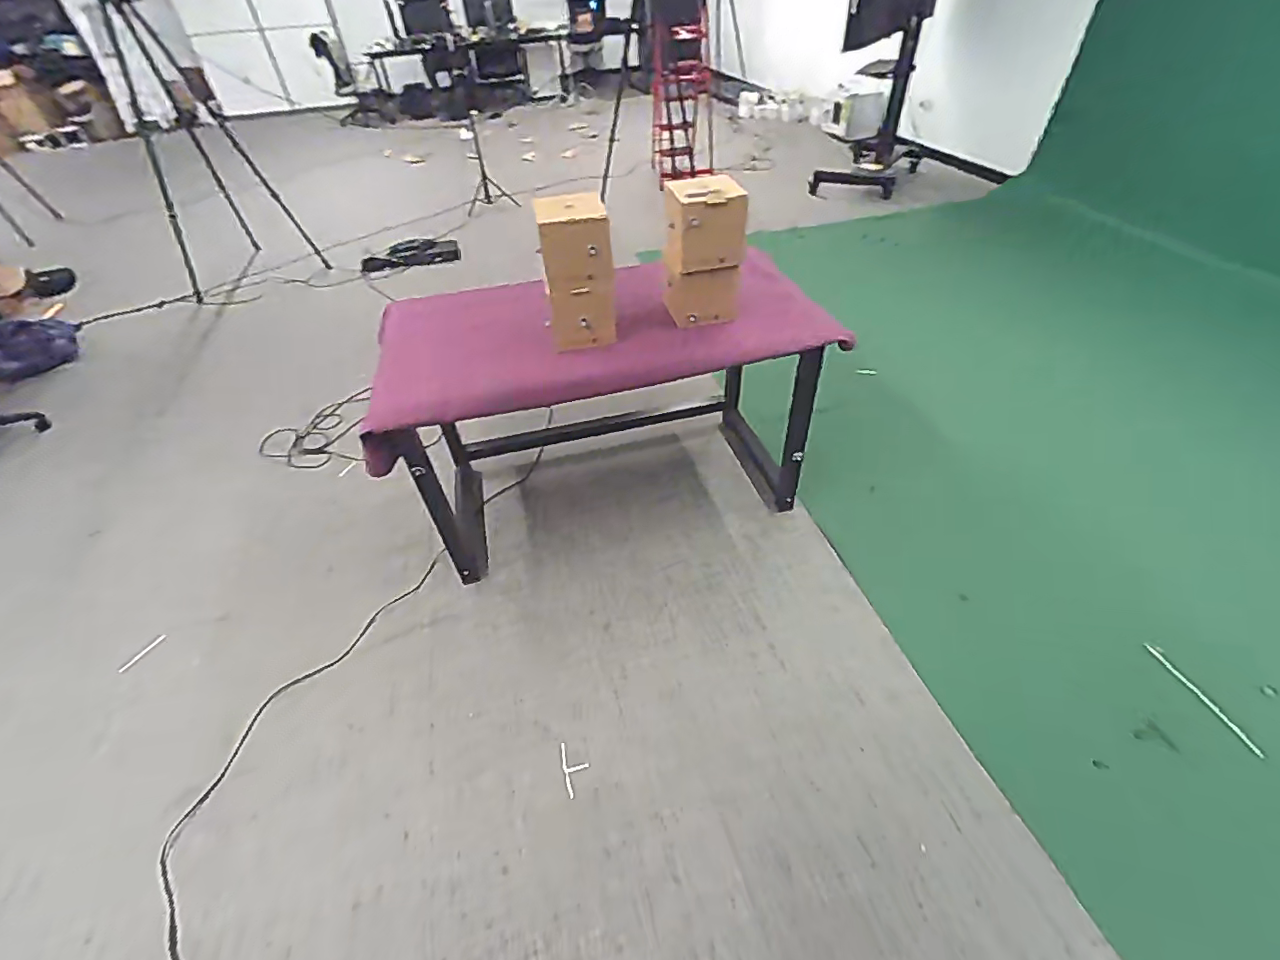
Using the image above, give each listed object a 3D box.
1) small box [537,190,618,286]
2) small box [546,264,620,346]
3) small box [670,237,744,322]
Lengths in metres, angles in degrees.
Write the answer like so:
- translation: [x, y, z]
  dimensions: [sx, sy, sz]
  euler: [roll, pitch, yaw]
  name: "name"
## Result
- translation: [-0.152, -0.589, 1.330]
  dimensions: [0.168, 0.176, 0.179]
  euler: [-10, 45, -6]
  name: "small box"
- translation: [-0.150, -0.470, 1.442]
  dimensions: [0.168, 0.176, 0.179]
  euler: [-9, 45, -6]
  name: "small box"
- translation: [0.179, -0.548, 1.494]
  dimensions: [0.168, 0.176, 0.179]
  euler: [-8, 45, -6]
  name: "small box"
